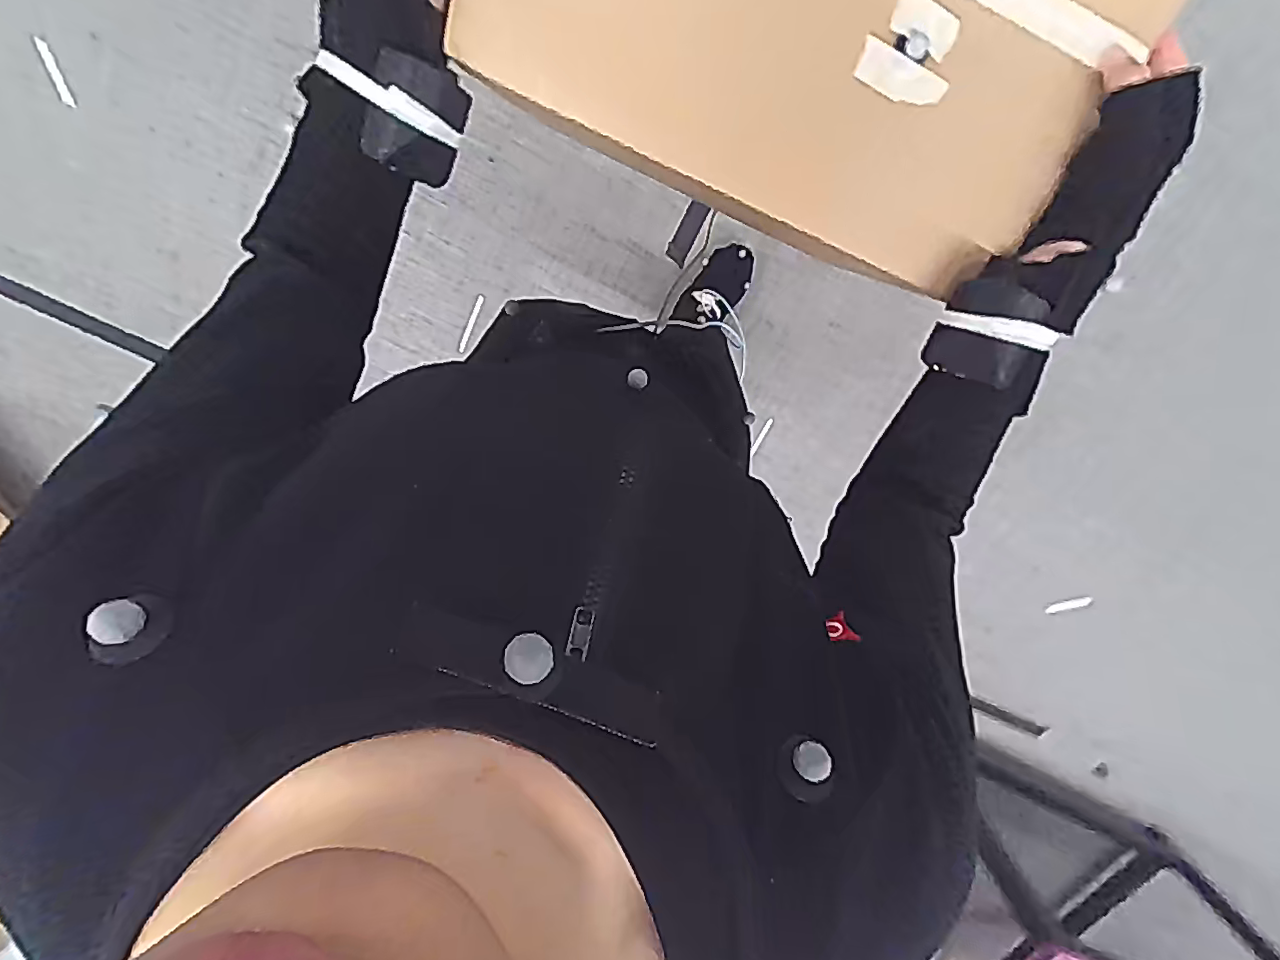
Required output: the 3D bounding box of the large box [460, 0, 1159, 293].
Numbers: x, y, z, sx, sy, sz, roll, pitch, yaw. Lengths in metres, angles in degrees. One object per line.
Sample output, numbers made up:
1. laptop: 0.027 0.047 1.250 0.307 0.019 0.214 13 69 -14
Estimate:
1. large box: 0.119 -0.399 0.449 0.408 0.320 0.320 20 117 -10
